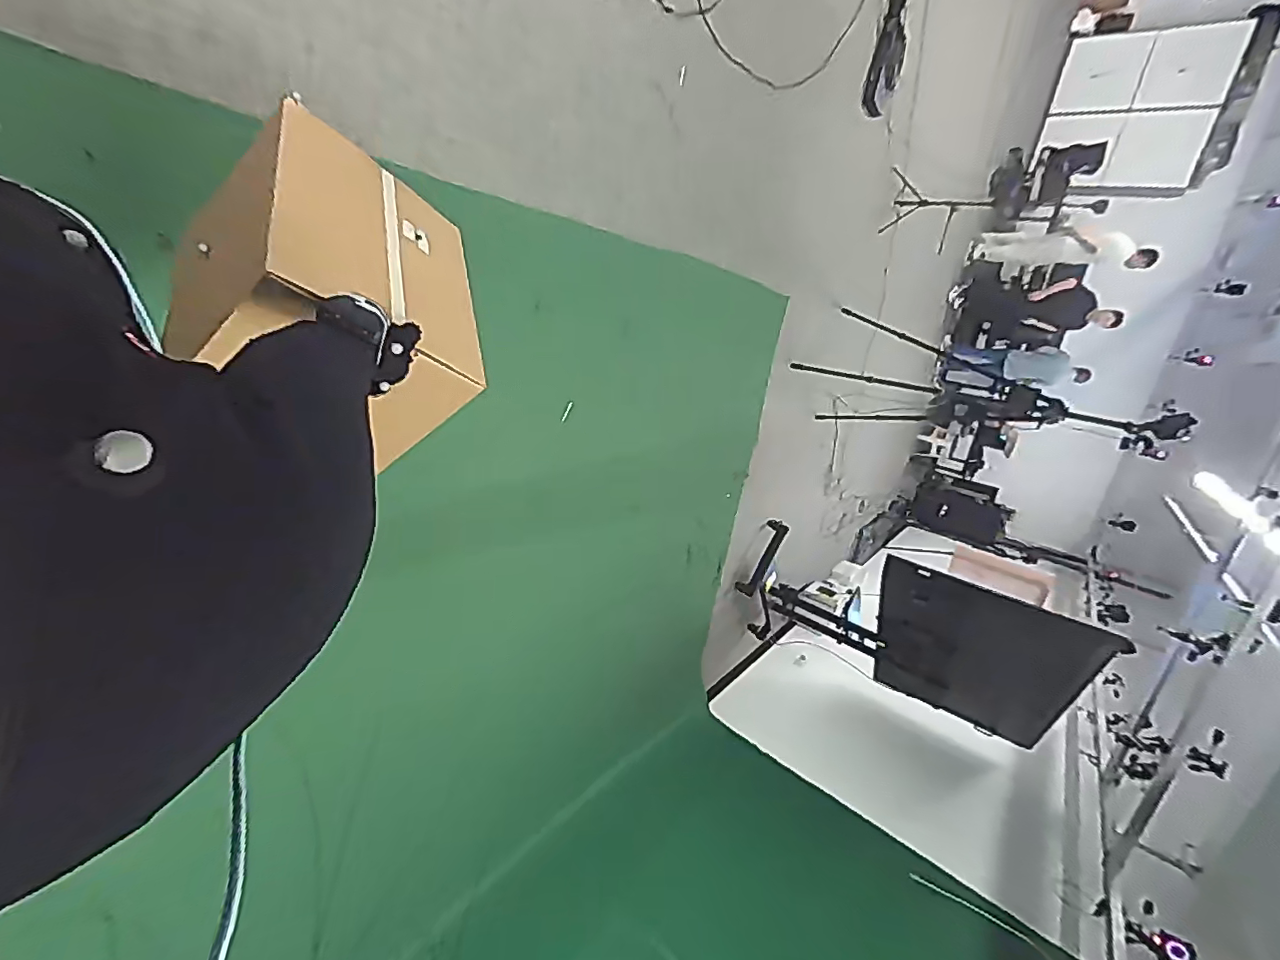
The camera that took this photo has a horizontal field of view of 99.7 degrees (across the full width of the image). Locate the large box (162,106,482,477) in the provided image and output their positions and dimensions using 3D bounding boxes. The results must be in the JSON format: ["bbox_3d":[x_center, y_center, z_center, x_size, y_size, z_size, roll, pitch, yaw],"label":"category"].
[{"bbox_3d":[-0.502,-0.274,0.878,0.320,0.408,0.320,-31,148,22],"label":"large box"}]
